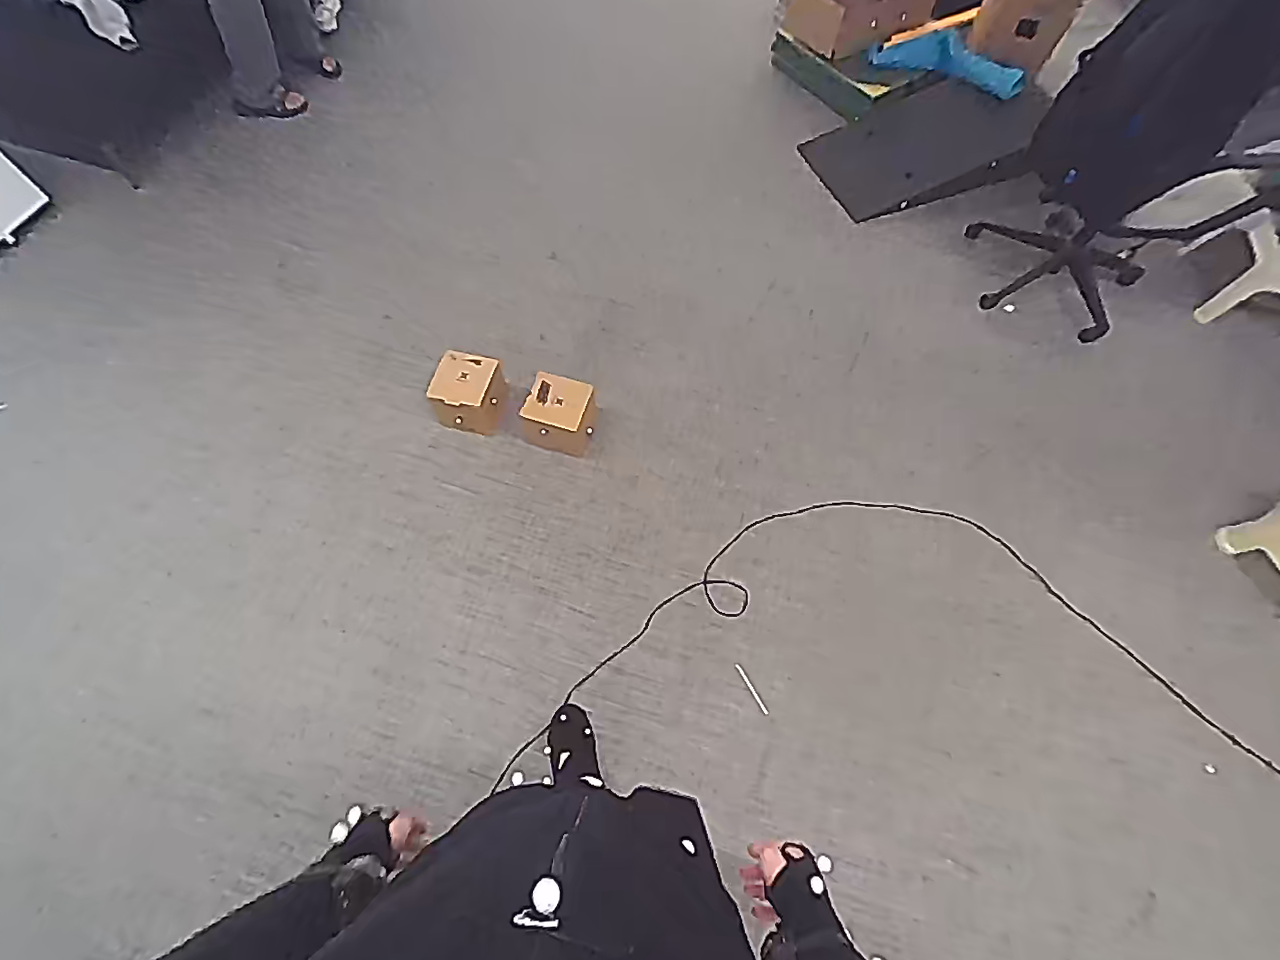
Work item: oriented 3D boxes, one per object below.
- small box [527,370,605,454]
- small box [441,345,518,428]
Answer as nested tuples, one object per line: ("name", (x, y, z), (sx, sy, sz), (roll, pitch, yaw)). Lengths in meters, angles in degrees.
("small box", (-0.219, -0.201, 1.648), (0.179, 0.176, 0.168), (19, 68, 8))
("small box", (-0.494, -0.284, 1.674), (0.179, 0.176, 0.168), (-15, 64, -7))
